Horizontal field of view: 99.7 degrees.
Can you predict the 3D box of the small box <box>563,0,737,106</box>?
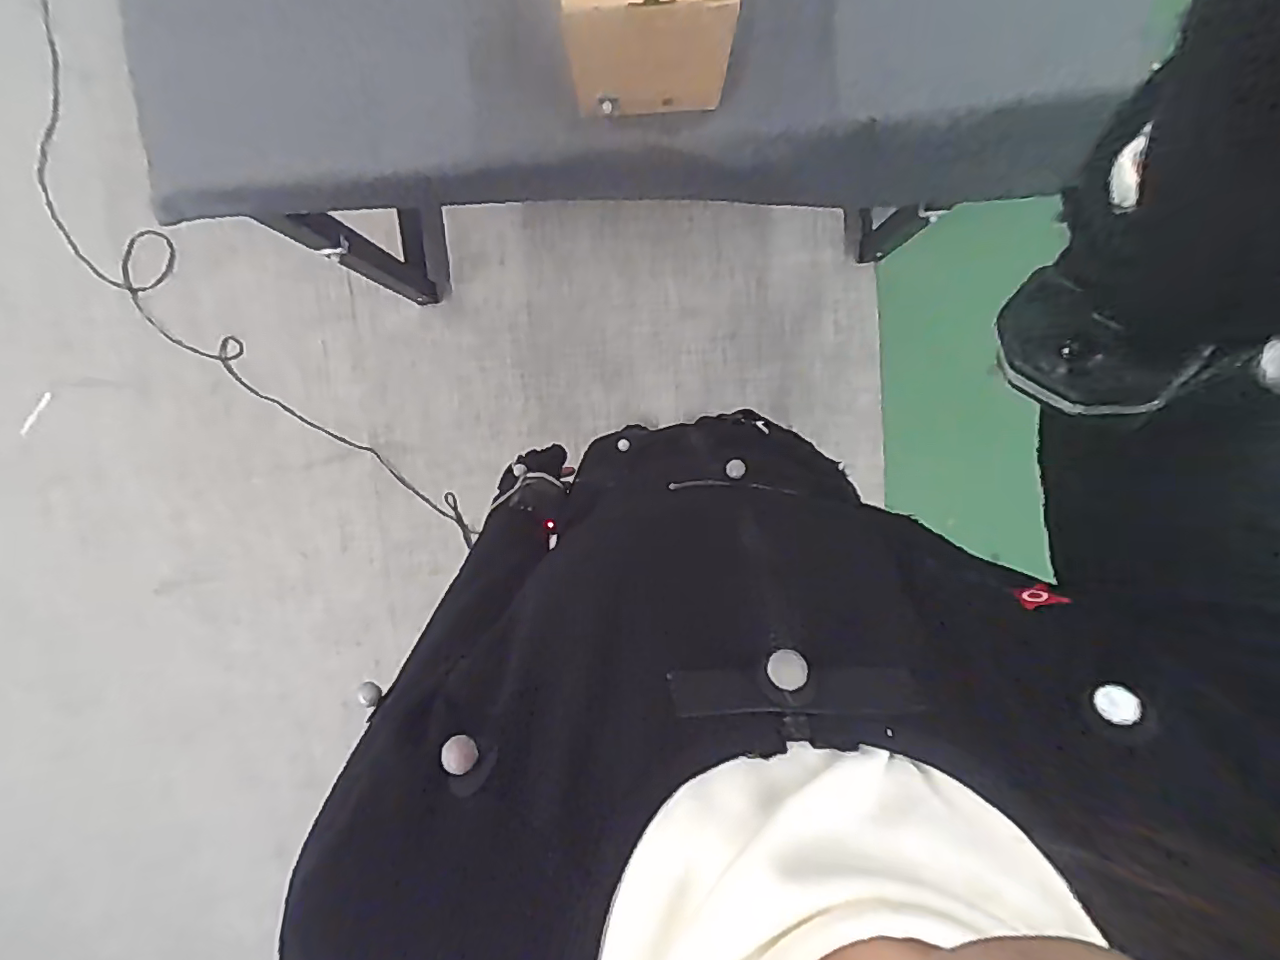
[{"bbox_3d":[0.011,-0.529,0.572,0.168,0.176,0.179,-1,94,0],"label":"small box"}]
